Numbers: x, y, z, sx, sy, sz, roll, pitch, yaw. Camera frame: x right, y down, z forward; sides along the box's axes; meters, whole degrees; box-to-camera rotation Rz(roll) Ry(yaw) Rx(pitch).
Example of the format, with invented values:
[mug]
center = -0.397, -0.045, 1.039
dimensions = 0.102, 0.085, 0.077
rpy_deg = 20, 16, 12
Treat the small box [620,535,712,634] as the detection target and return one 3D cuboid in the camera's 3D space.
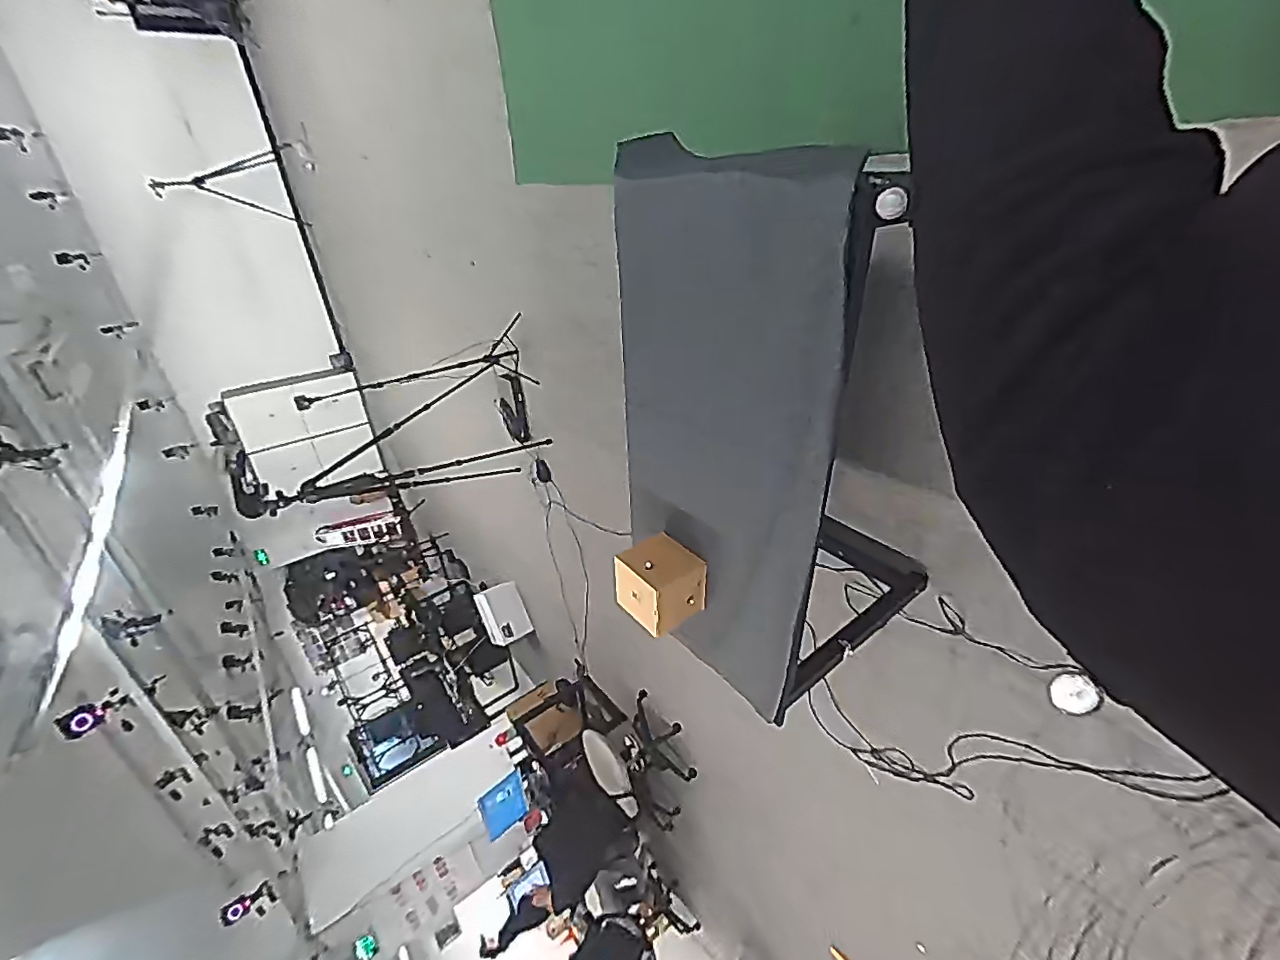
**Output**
[small box]
center = 0.067, 0.266, 1.431
dimensions = 0.179, 0.176, 0.168
rpy_deg = 32, 135, 42
